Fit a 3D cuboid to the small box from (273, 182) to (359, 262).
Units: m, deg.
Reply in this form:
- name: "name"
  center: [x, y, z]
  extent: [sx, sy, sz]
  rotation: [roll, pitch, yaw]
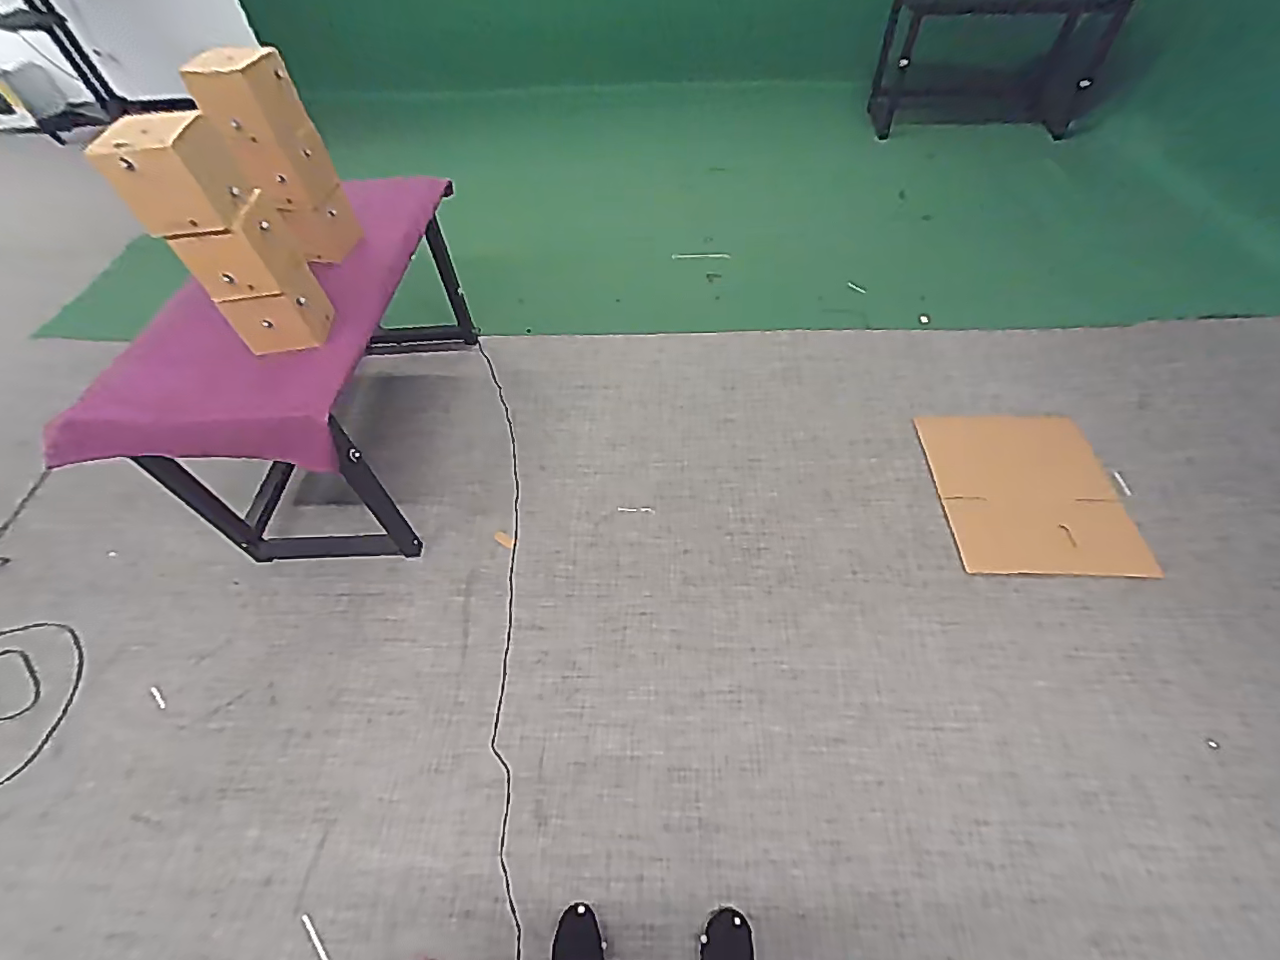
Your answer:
- name: "small box"
  center: [-1.001, -0.790, 1.659]
  extent: [0.168, 0.176, 0.179]
  rotation: [5, 53, 6]

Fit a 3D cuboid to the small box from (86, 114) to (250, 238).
- name: "small box"
  center: [-0.966, -0.634, 1.131]
  extent: [0.168, 0.176, 0.179]
  rotation: [-7, 53, 0]

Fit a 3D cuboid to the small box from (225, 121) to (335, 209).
- name: "small box"
  center: [-1.004, -0.886, 1.528]
  extent: [0.168, 0.176, 0.179]
  rotation: [5, 53, 5]

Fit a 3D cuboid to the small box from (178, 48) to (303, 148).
- name: "small box"
  center: [-1.013, -0.984, 1.395]
  extent: [0.168, 0.176, 0.179]
  rotation: [4, 54, 5]

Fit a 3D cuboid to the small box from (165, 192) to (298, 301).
- name: "small box"
  center: [-0.942, -0.545, 1.268]
  extent: [0.168, 0.176, 0.179]
  rotation: [-7, 54, -1]
